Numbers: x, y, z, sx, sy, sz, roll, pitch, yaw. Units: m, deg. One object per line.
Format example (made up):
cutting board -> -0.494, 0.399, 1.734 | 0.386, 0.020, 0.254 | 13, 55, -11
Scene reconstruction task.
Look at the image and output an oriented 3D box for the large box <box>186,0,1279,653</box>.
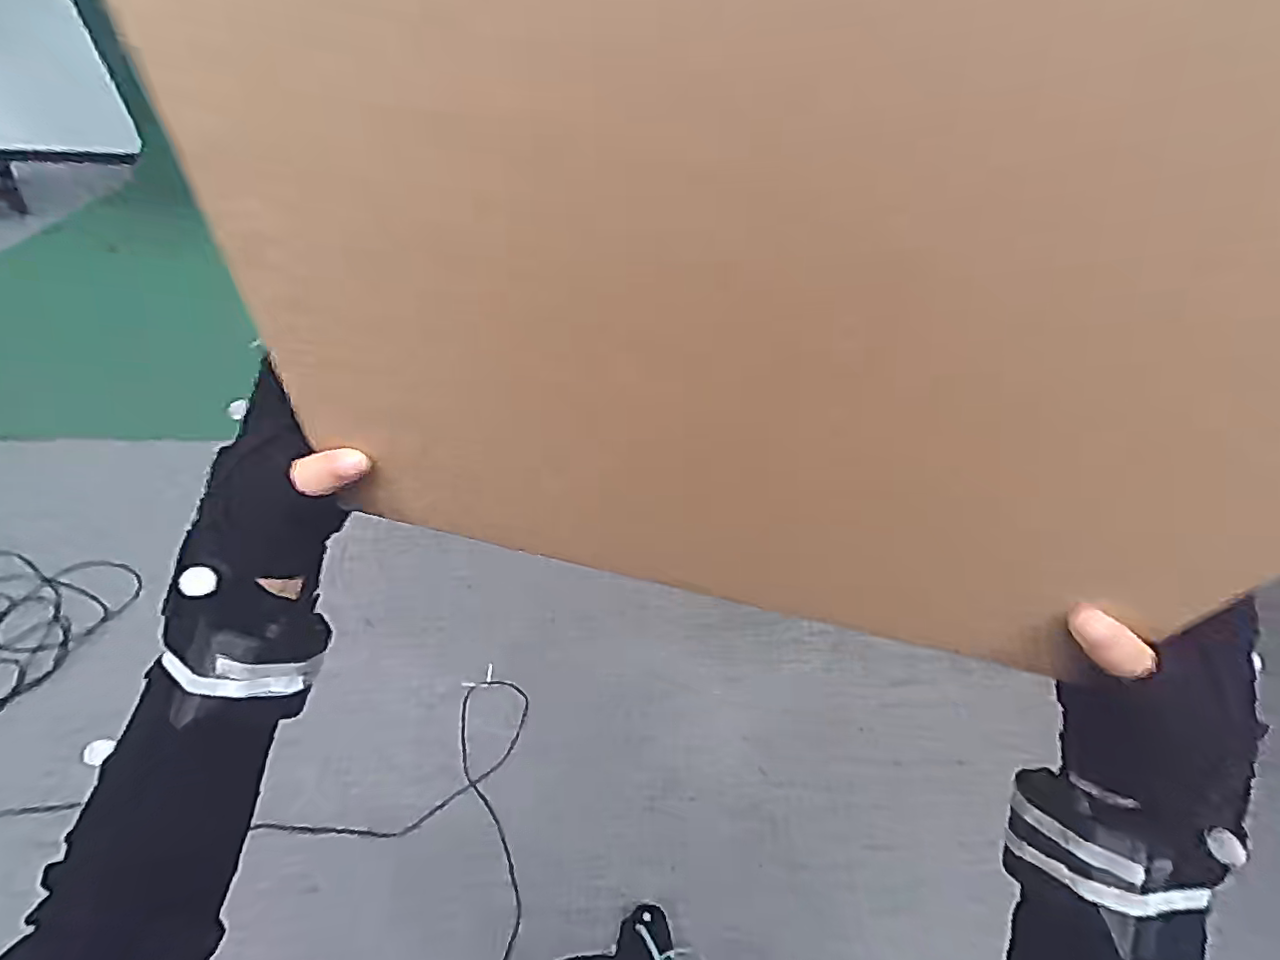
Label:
large box -> 0.082, -0.152, 0.288 | 0.408, 0.320, 0.320 | 13, 47, 1
